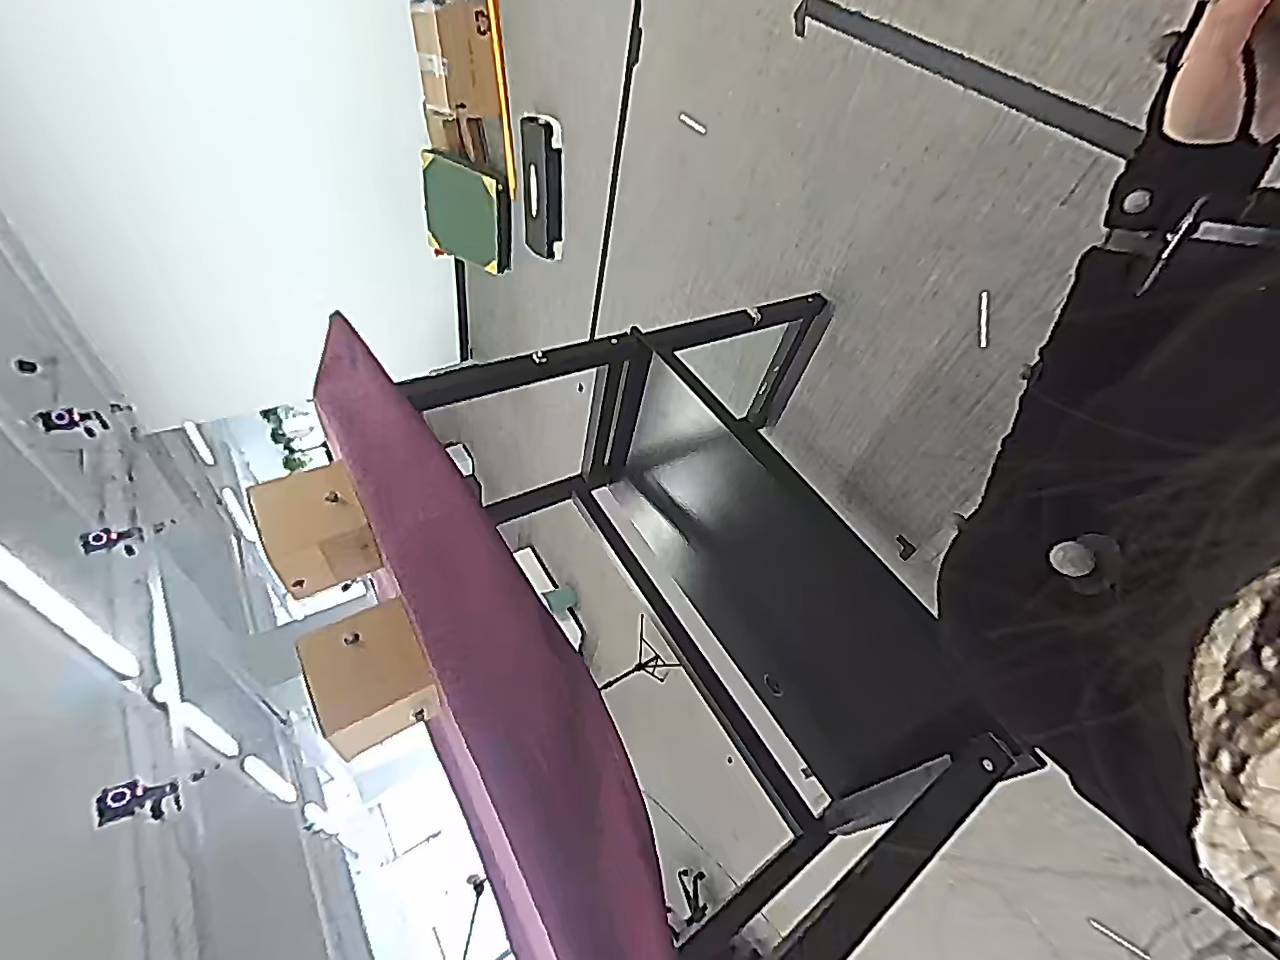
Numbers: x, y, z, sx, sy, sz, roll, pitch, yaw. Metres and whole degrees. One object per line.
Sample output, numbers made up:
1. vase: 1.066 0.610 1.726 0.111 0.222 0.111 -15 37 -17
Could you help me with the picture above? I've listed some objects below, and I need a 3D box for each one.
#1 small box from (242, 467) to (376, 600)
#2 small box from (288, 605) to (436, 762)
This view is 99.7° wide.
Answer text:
1. small box: -0.625 0.094 1.036 0.179 0.176 0.168 54 149 26
2. small box: -0.459 0.333 0.913 0.179 0.176 0.168 54 148 26
